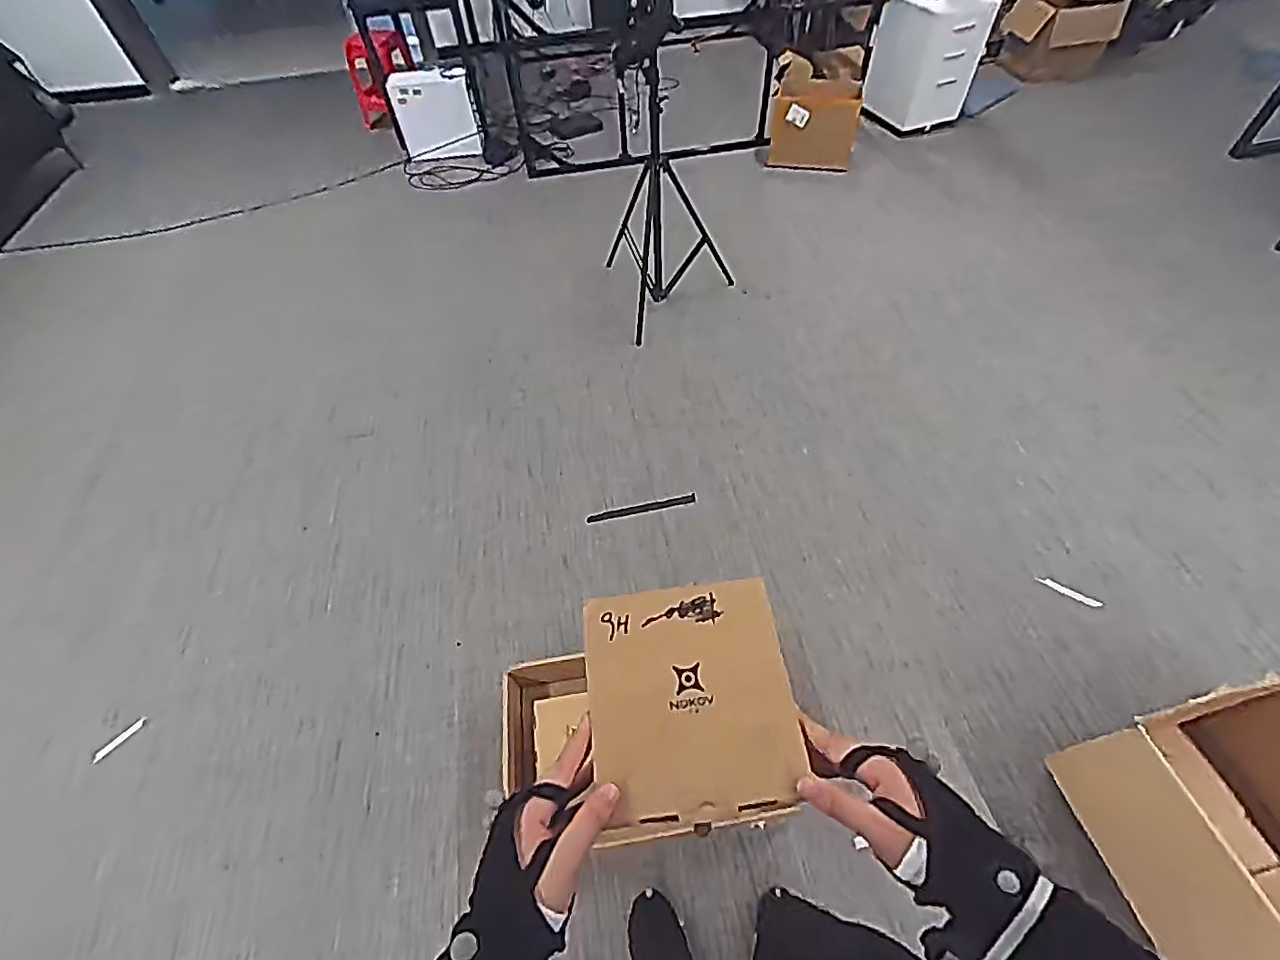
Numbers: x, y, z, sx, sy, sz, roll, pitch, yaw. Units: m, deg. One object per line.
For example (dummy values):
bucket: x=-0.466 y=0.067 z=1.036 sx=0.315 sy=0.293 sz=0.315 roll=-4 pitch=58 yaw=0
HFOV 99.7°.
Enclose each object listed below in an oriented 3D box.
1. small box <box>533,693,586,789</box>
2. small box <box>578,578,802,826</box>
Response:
small box: x=-0.141 y=0.601 z=1.247 sx=0.179 sy=0.176 sz=0.168 roll=-8 pitch=55 yaw=-5
small box: x=0.037 y=0.210 z=0.512 sx=0.168 sy=0.176 sz=0.179 roll=-6 pitch=60 yaw=-2
